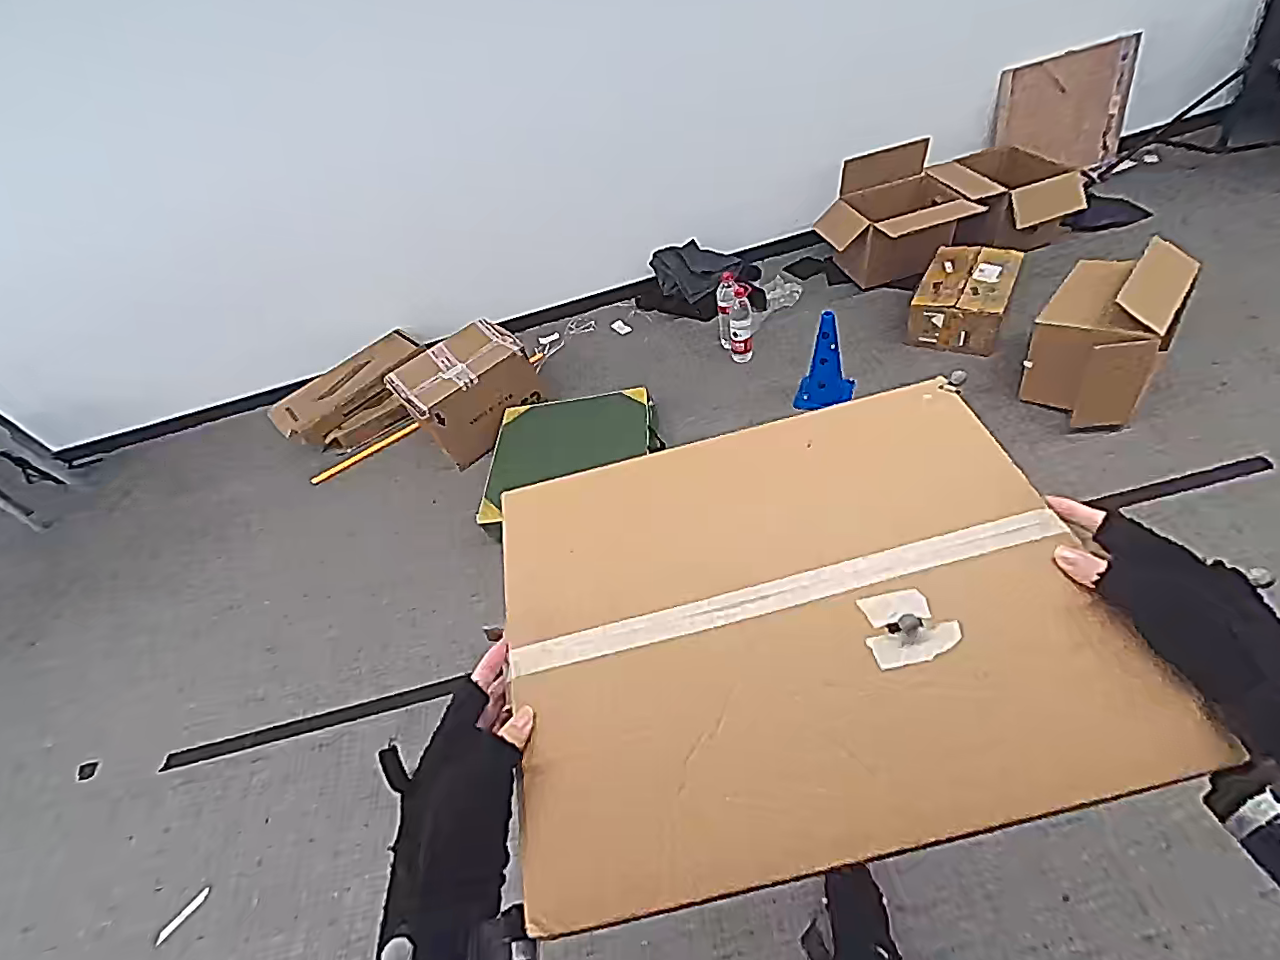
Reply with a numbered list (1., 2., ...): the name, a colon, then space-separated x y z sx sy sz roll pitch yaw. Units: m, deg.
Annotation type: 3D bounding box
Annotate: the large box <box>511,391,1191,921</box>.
1. large box: 0.126 0.173 0.523 0.408 0.320 0.320 -15 54 0
